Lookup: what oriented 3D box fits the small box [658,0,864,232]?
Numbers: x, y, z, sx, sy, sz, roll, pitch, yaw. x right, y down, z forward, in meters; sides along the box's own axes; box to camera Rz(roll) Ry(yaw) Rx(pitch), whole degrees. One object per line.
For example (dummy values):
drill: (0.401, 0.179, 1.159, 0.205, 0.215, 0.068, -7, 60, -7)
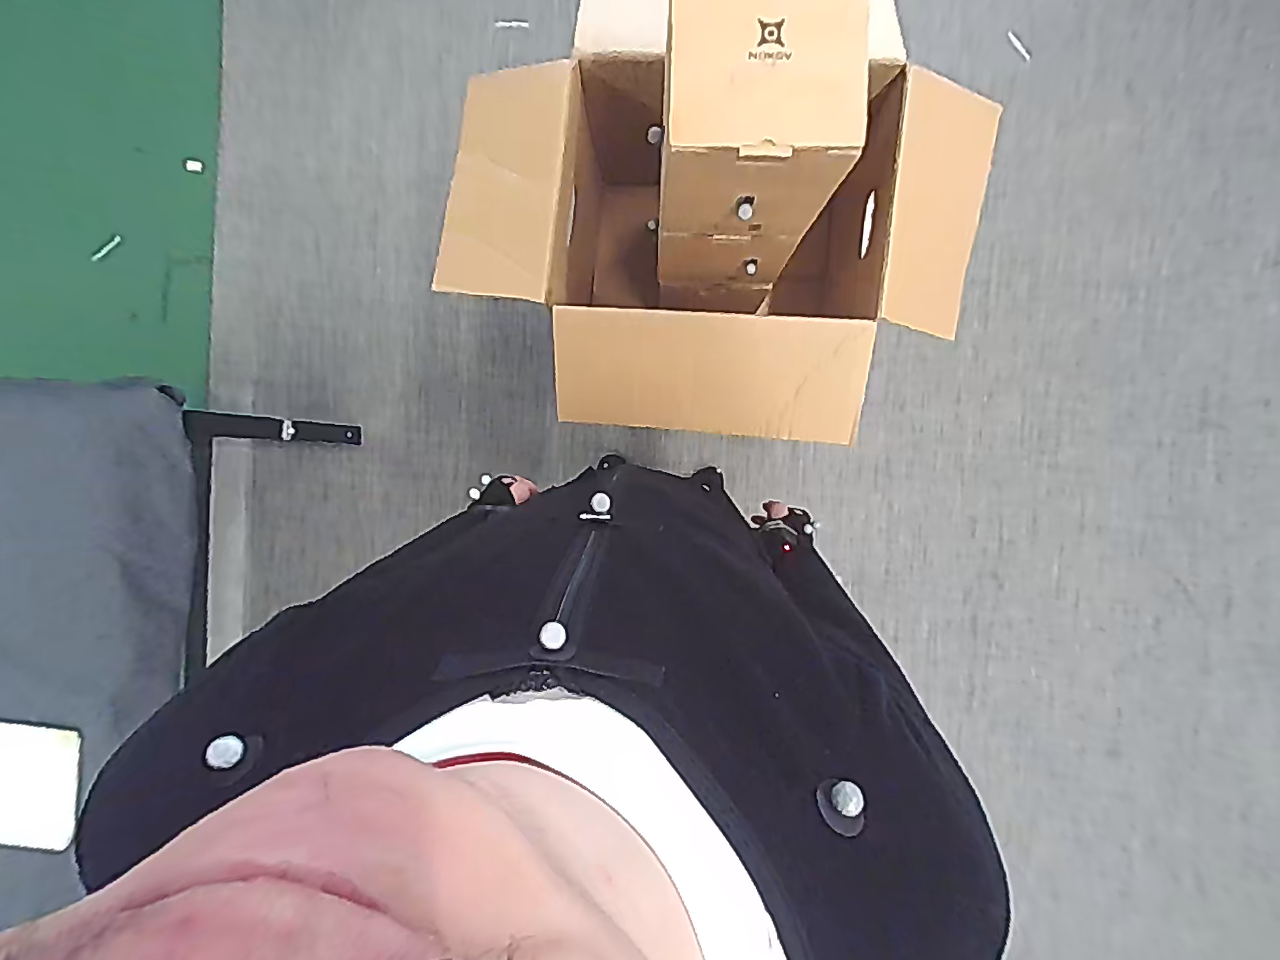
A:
small box: (0.105, -0.364, 0.535, 0.168, 0.176, 0.179, 1, 93, -1)
